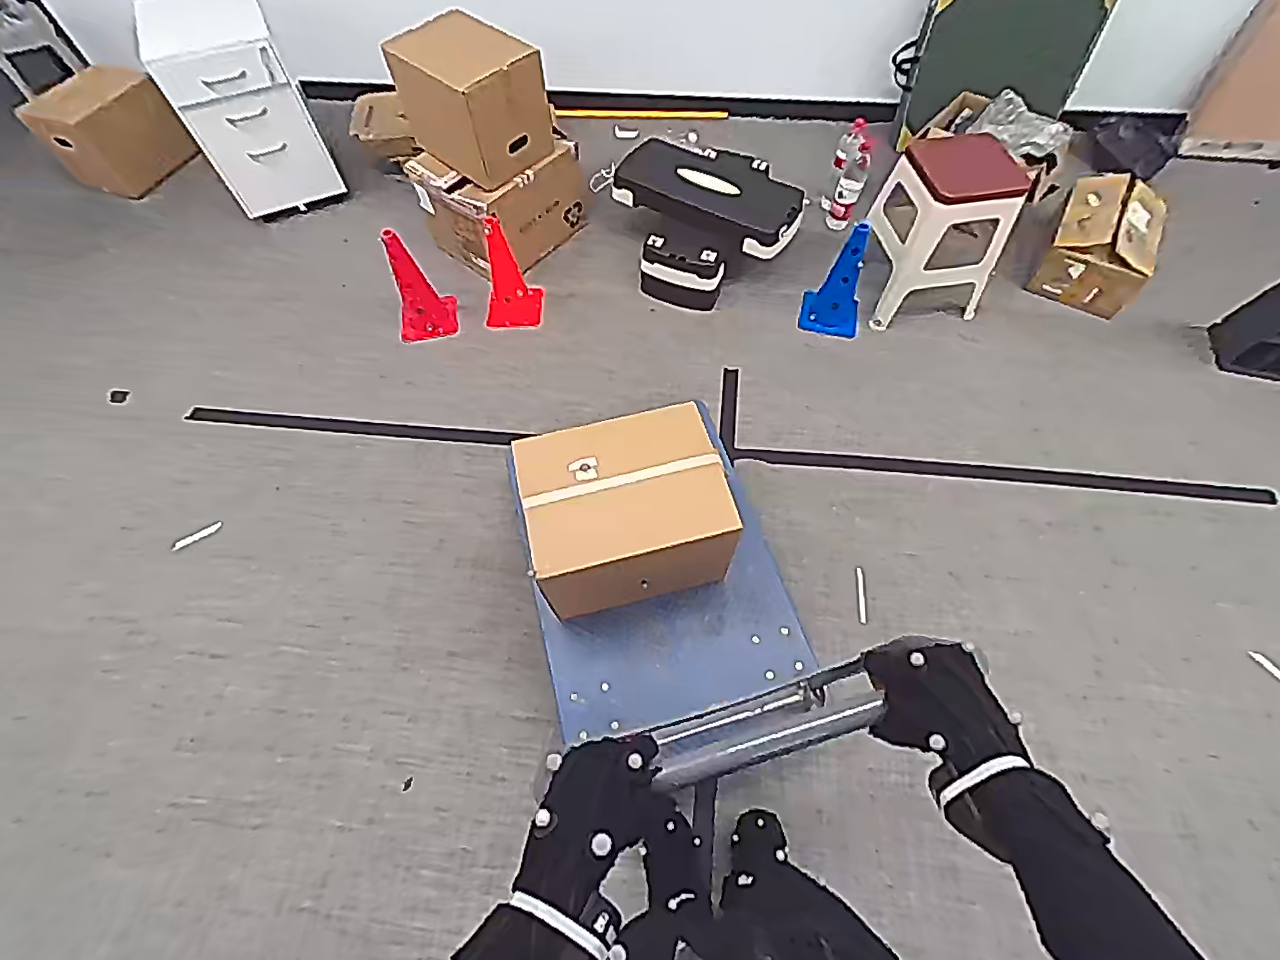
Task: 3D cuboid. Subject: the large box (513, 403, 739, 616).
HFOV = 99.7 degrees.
[{"bbox_3d":[-0.032,0.078,1.218,0.408,0.320,0.320,-14,62,-5],"label":"large box"}]
